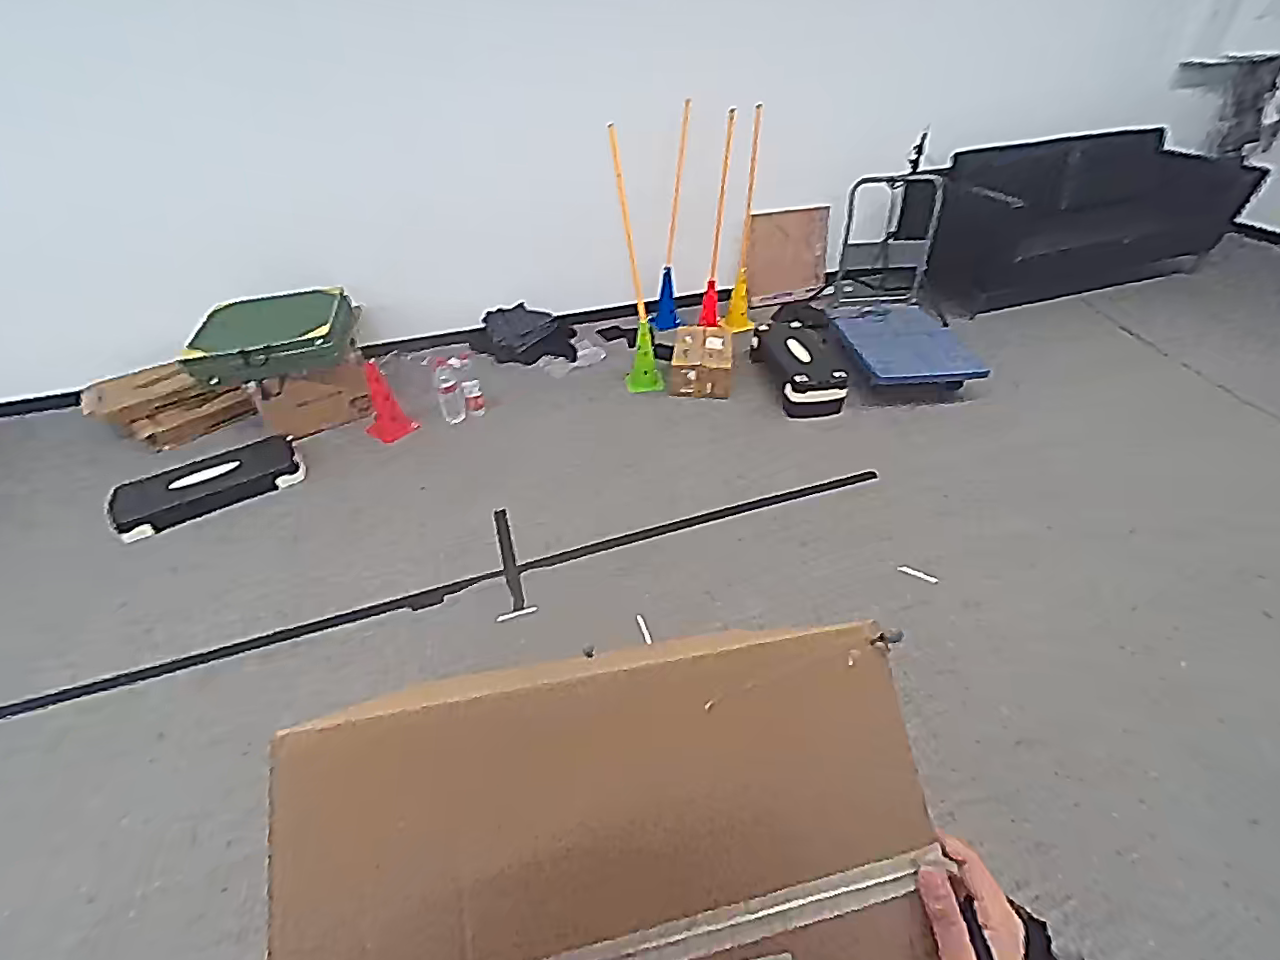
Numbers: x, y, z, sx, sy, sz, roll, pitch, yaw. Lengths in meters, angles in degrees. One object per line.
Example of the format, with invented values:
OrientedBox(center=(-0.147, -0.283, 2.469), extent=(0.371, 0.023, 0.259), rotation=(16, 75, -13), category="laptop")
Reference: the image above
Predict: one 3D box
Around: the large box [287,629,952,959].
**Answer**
OrientedBox(center=(-0.022, 0.327, 0.473), extent=(0.408, 0.320, 0.320), rotation=(-7, 76, -12), category="large box")
